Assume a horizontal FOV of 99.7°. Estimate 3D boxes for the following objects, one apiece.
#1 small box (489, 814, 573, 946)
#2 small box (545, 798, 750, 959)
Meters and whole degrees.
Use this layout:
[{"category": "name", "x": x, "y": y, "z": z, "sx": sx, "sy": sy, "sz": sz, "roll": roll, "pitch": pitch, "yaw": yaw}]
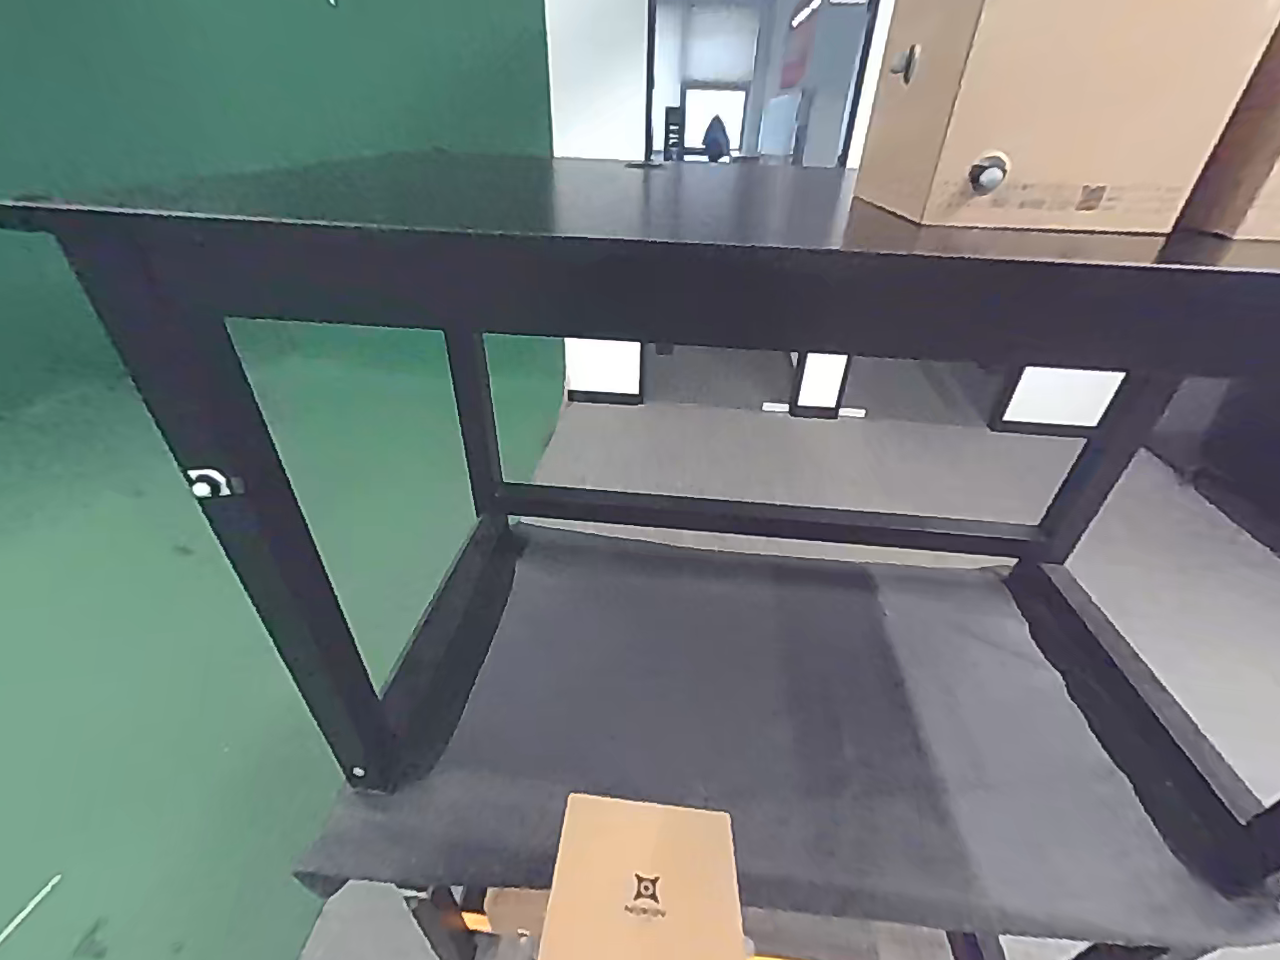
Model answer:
[{"category": "small box", "x": -0.202, "y": 0.841, "z": 1.136, "sx": 0.168, "sy": 0.176, "sz": 0.179, "roll": 4, "pitch": 36, "yaw": 4}, {"category": "small box", "x": -0.001, "y": 0.439, "z": 0.496, "sx": 0.168, "sy": 0.176, "sz": 0.179, "roll": 8, "pitch": 19, "yaw": 0}]
